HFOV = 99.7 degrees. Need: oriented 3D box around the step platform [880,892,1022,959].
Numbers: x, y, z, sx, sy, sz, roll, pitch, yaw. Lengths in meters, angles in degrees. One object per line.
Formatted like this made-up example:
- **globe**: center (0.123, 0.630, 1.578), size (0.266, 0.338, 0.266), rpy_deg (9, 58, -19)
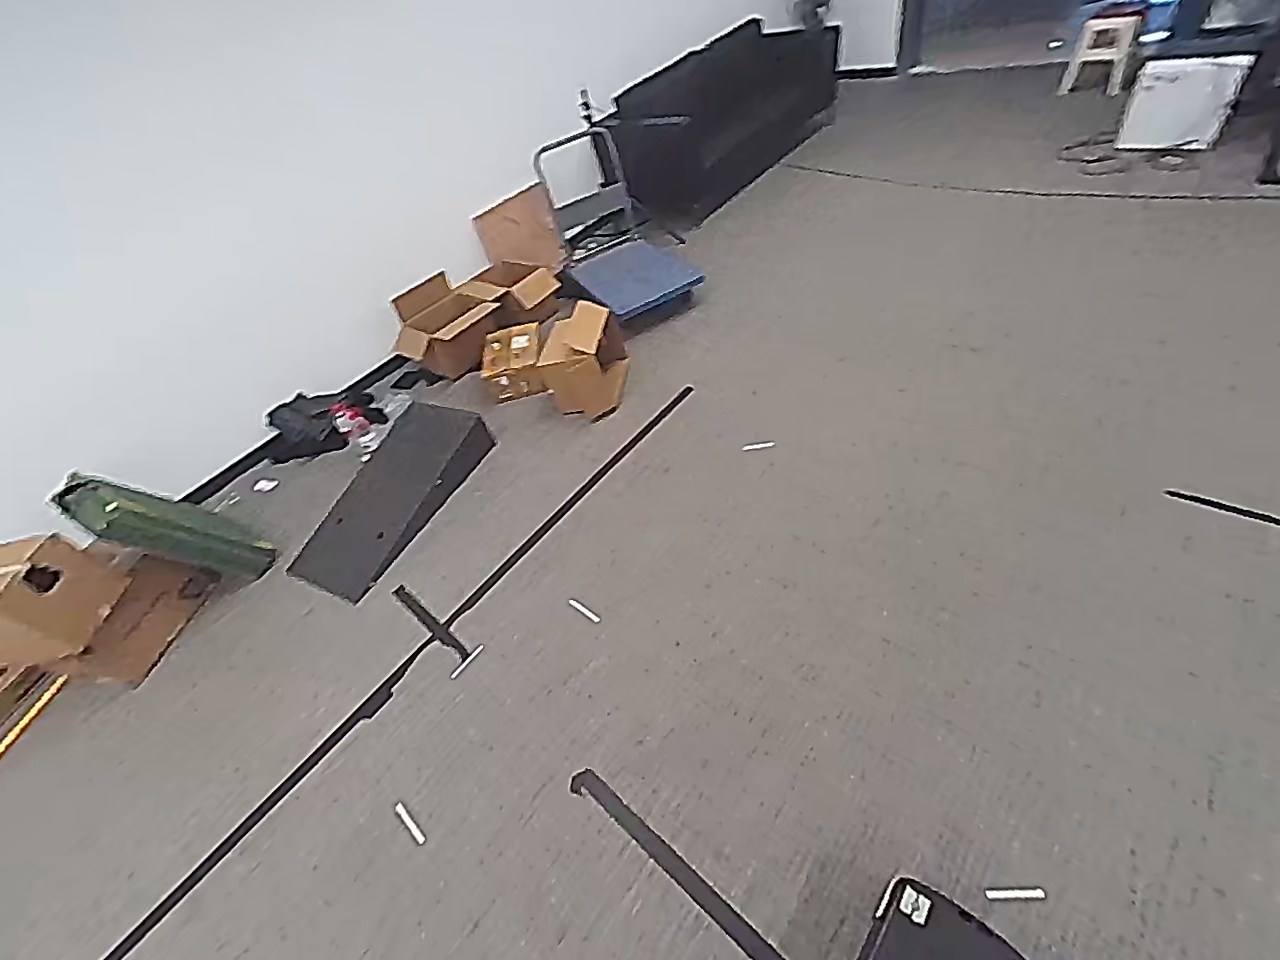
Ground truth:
- **step platform**: center (0.489, 1.149, 0.959), size (0.286, 0.204, 0.684), rpy_deg (24, 57, 34)
